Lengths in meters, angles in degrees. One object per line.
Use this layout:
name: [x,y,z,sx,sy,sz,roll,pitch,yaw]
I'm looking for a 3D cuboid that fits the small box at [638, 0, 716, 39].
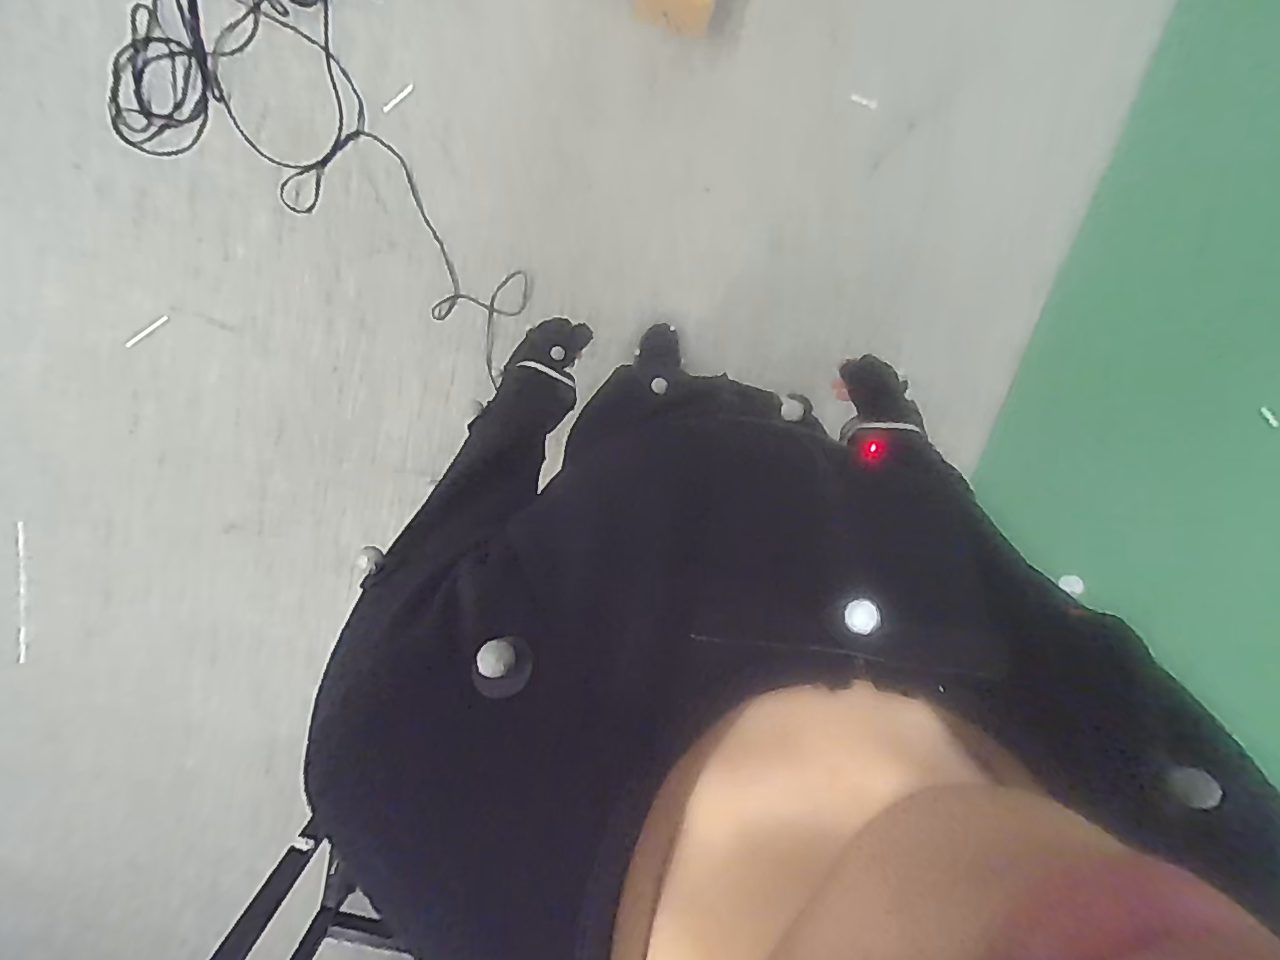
small box: [0.091,-1.092,1.138,0.168,0.176,0.179,16,103,-2]
